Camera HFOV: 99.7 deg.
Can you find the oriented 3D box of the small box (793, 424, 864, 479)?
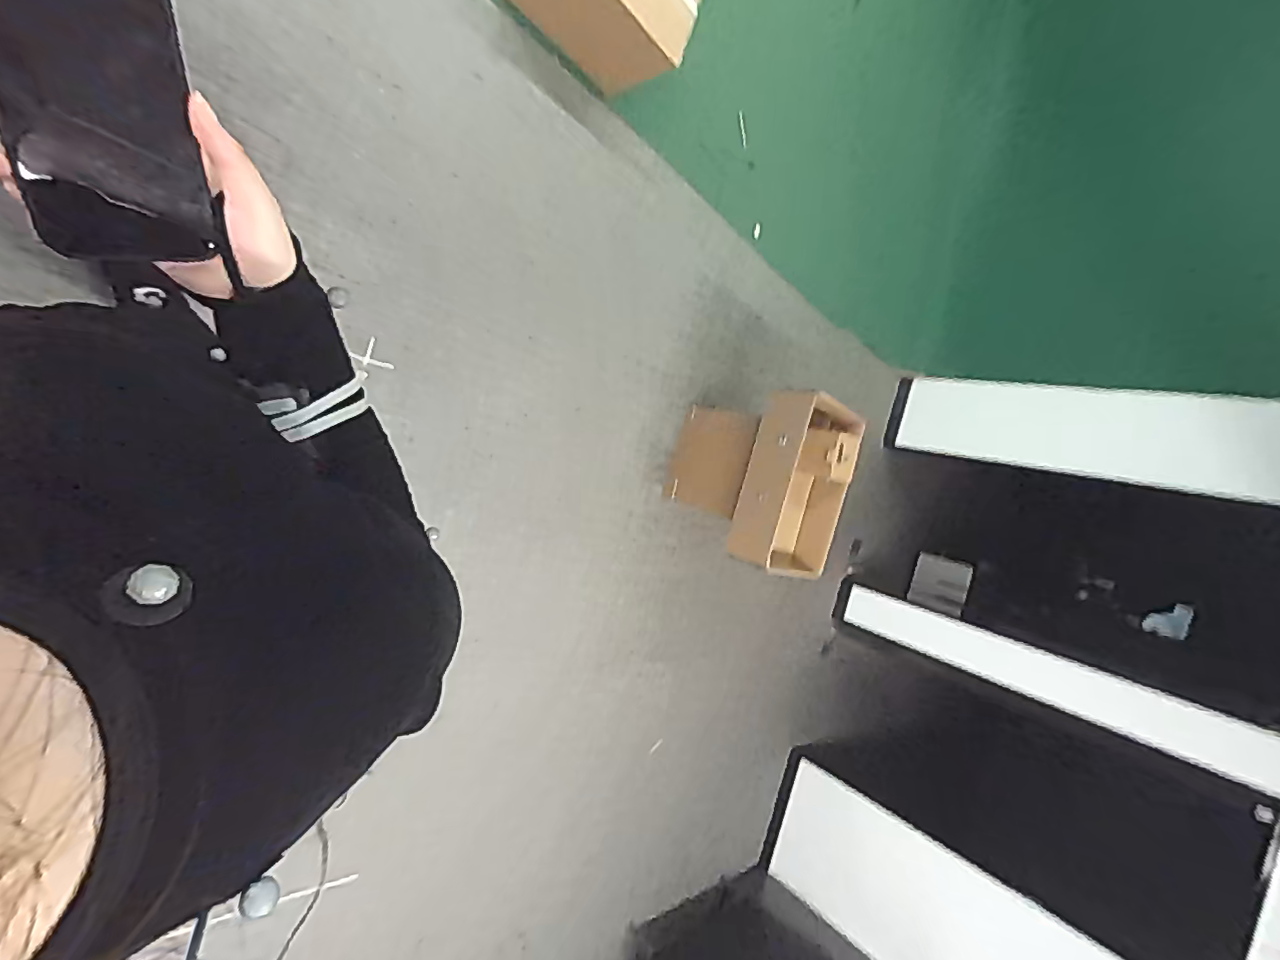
[{"bbox_3d":[0.679,-0.105,1.954,0.179,0.176,0.168,4,99,-45],"label":"small box"}]
